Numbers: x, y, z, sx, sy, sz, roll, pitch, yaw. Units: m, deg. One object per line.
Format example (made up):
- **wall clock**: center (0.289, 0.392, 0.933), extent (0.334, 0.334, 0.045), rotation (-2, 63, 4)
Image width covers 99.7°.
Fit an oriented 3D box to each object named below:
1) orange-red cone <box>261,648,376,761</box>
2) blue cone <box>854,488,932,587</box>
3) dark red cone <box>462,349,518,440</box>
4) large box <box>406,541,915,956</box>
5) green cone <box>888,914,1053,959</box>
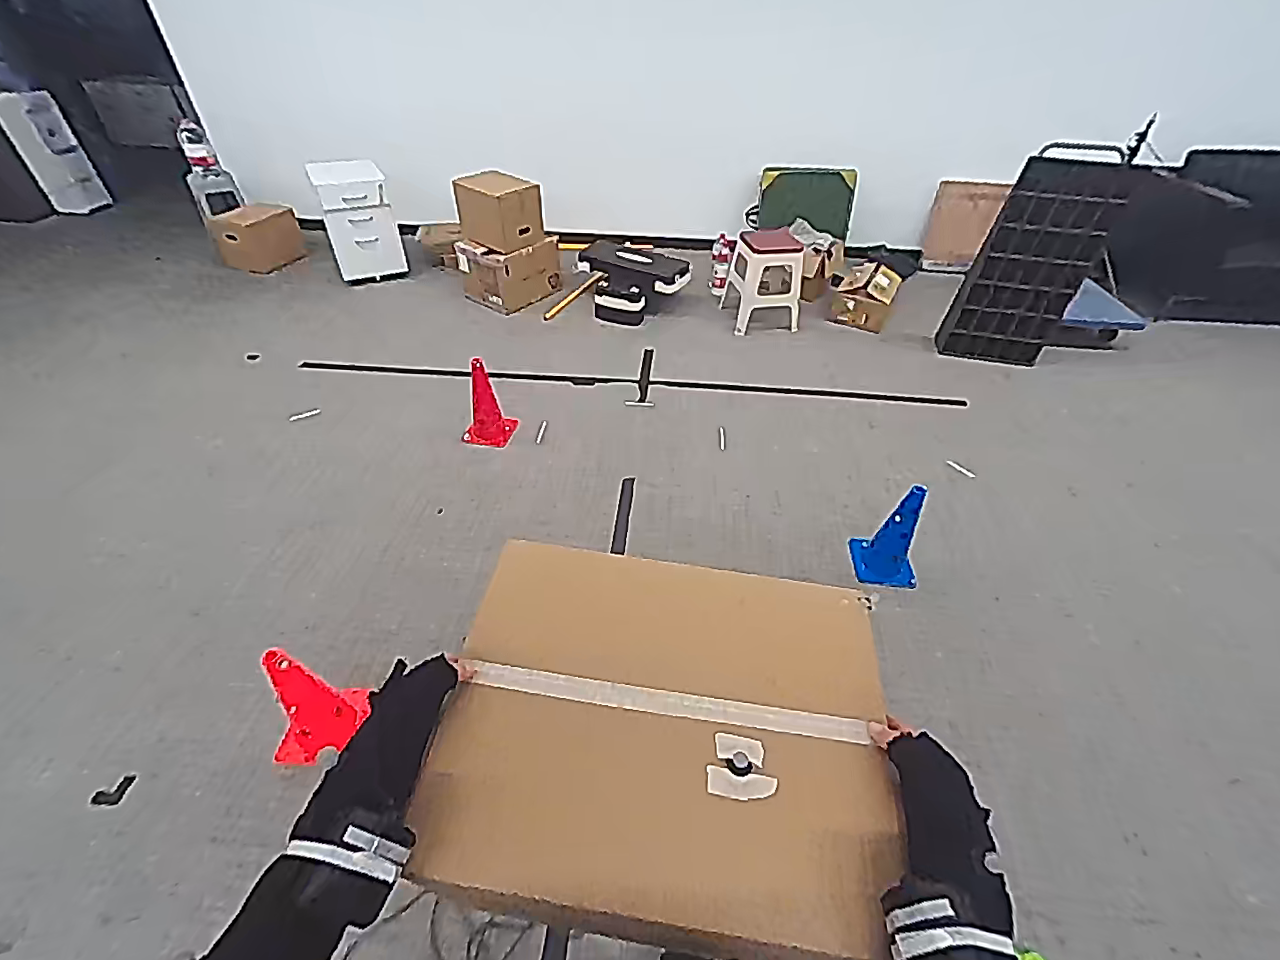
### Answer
- **orange-red cone**: center (-0.824, 0.518, 1.320), extent (0.198, 0.360, 0.199), rotation (2, 44, 1)
- **blue cone**: center (0.866, 0.173, 1.796), extent (0.192, 0.380, 0.193), rotation (7, 43, 4)
- **dark red cone**: center (-0.647, -0.364, 2.259), extent (0.201, 0.394, 0.202), rotation (9, 43, 6)
- **large box**: center (0.020, 0.306, 0.620), extent (0.408, 0.320, 0.320), rotation (8, 48, 3)
- **green cone**: center (0.622, 0.899, 0.963), extent (0.202, 0.368, 0.200), rotation (-21, 48, -26)
